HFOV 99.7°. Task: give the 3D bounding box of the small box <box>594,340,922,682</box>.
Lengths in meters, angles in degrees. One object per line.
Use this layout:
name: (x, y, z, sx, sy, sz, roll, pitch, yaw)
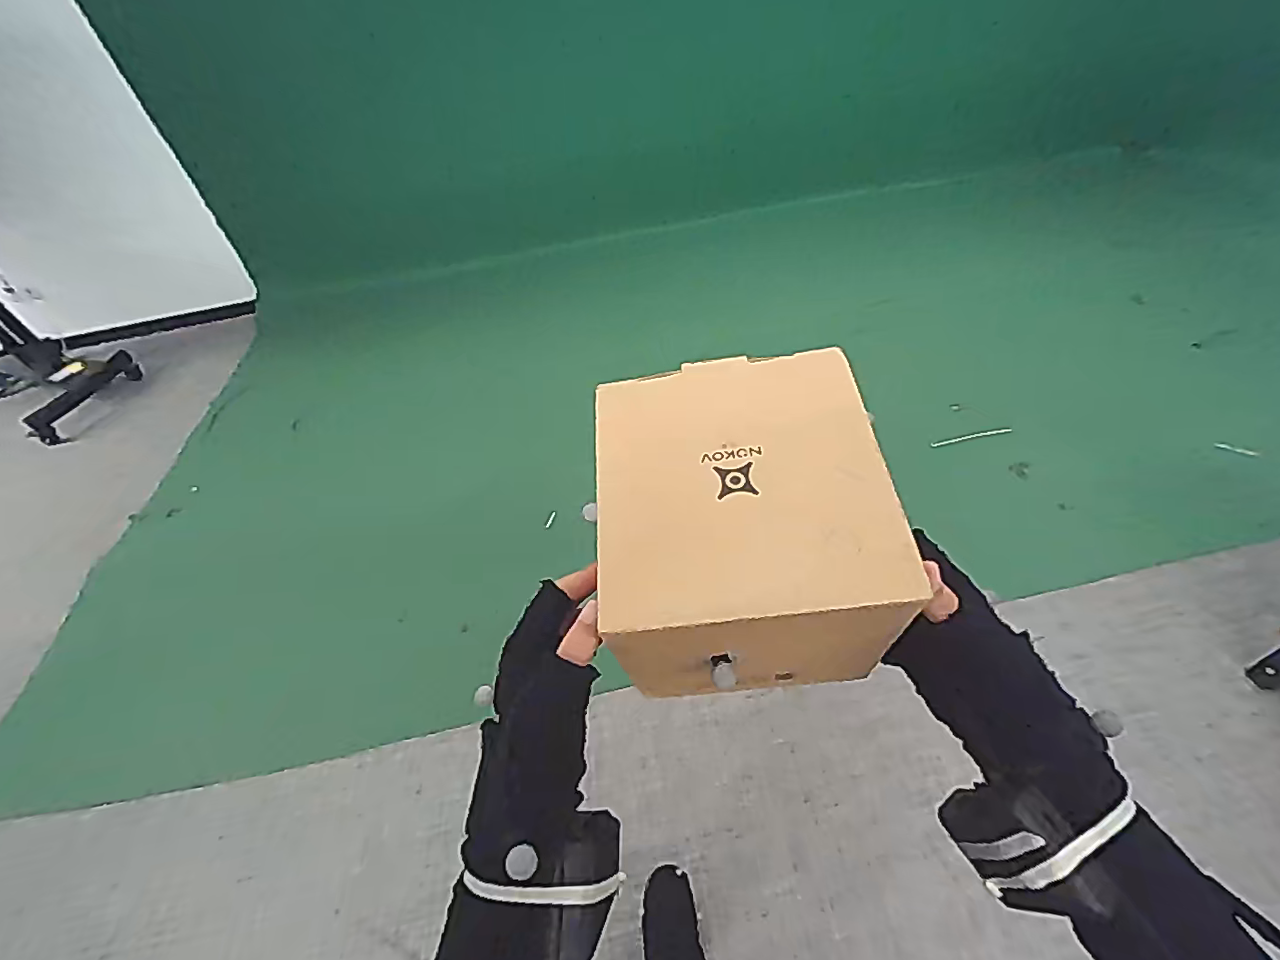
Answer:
small box: (0.066, 0.034, 0.378, 0.168, 0.176, 0.179, -7, 56, 6)
